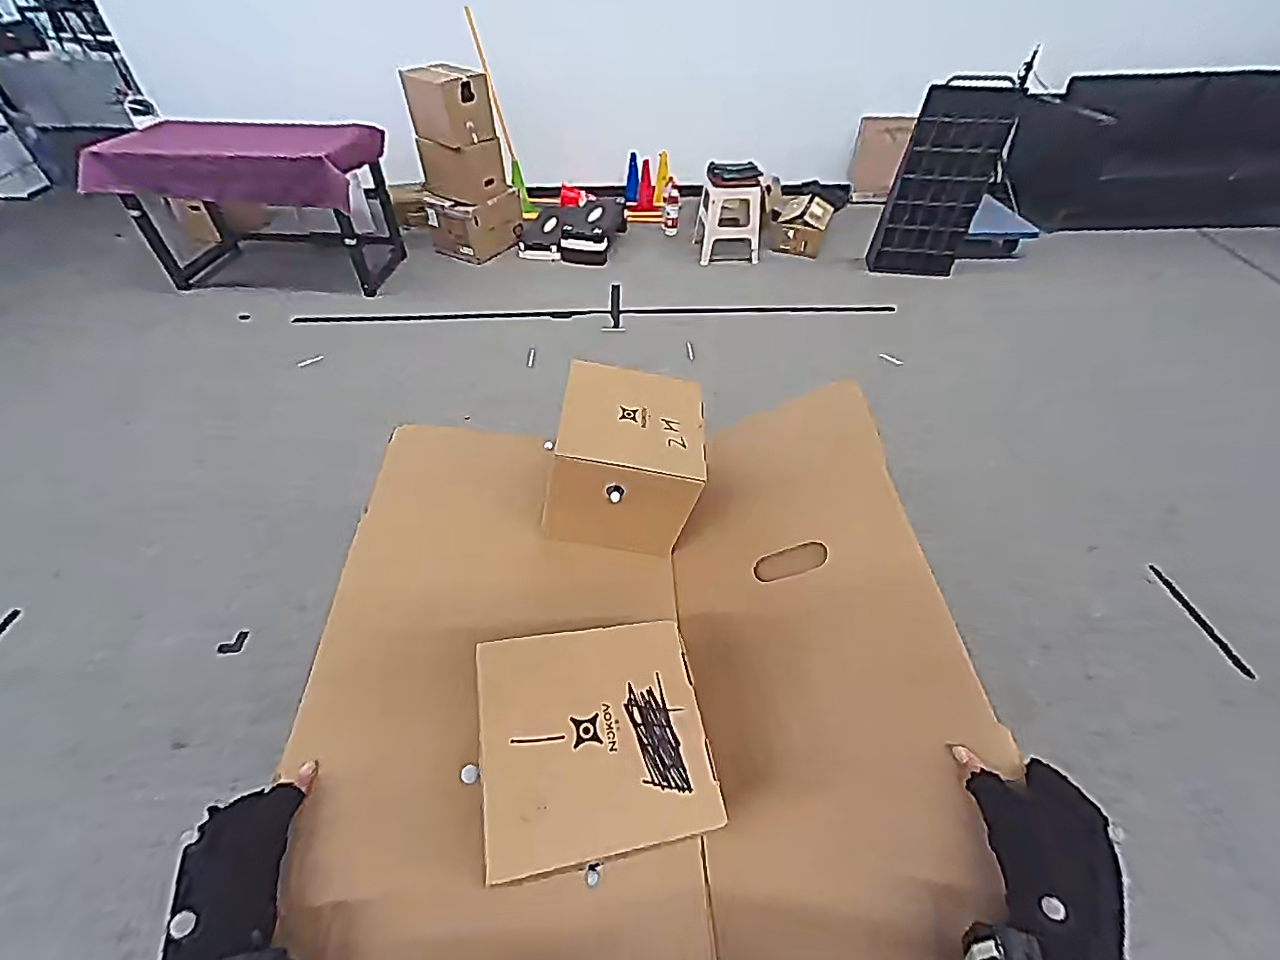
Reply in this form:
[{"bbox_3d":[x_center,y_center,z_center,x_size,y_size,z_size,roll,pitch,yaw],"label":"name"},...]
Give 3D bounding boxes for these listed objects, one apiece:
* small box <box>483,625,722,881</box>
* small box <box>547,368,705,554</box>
[{"bbox_3d":[-0.051,0.249,0.495,0.179,0.176,0.168,-2,53,-17],"label":"small box"},{"bbox_3d":[-0.022,-0.019,0.719,0.179,0.176,0.168,11,50,-8],"label":"small box"}]
